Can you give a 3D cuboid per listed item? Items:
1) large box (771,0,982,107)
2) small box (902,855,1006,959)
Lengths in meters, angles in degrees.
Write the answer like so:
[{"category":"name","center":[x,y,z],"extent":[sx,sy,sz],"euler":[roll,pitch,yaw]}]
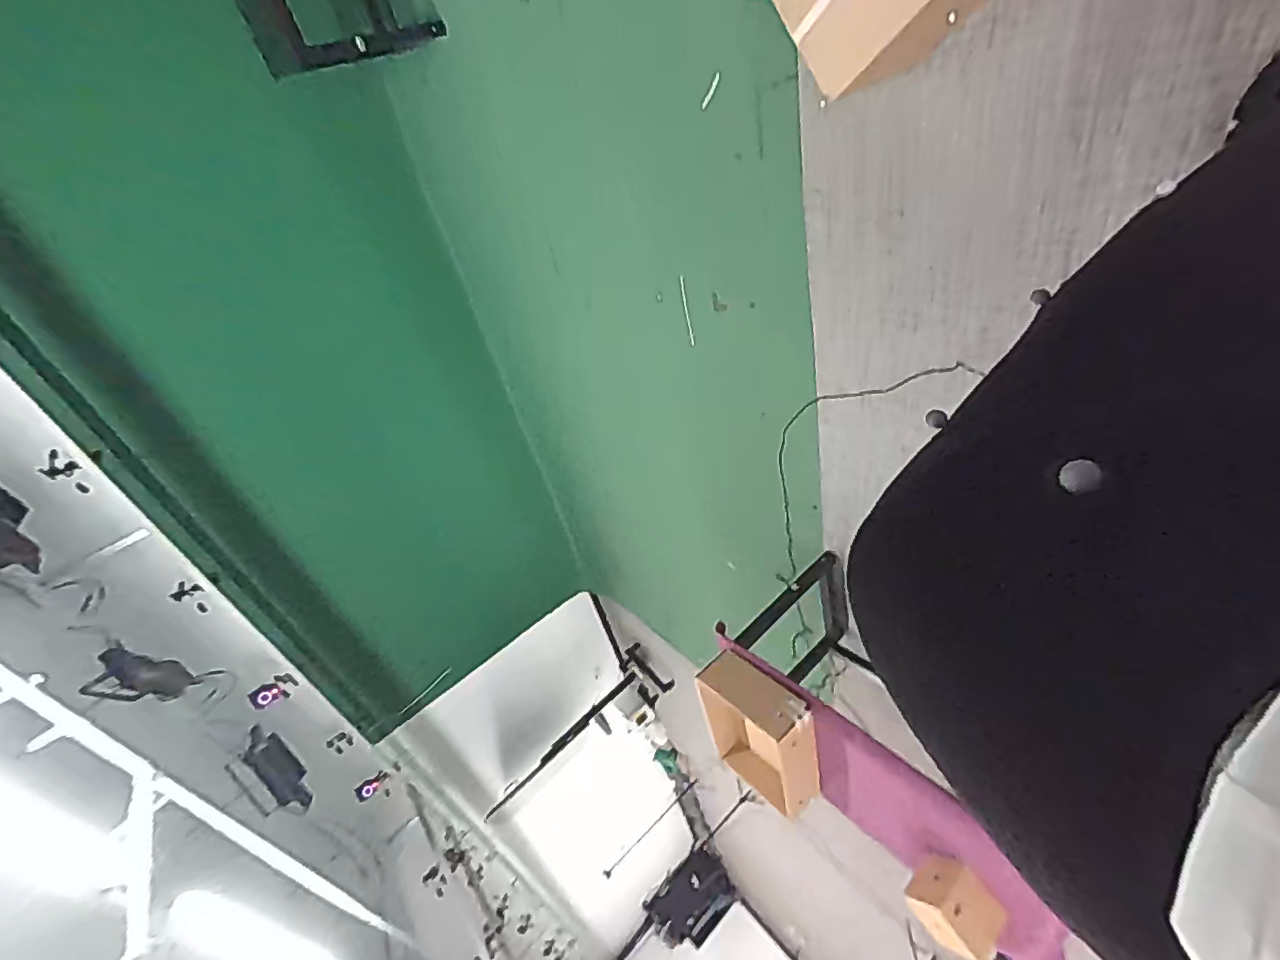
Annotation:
[{"category":"large box","center":[0.535,-1.068,1.076],"extent":[0.320,0.320,0.408],"euler":[59,155,-5]},{"category":"small box","center":[0.954,1.291,1.645],"extent":[0.179,0.176,0.168],"euler":[51,155,10]}]
